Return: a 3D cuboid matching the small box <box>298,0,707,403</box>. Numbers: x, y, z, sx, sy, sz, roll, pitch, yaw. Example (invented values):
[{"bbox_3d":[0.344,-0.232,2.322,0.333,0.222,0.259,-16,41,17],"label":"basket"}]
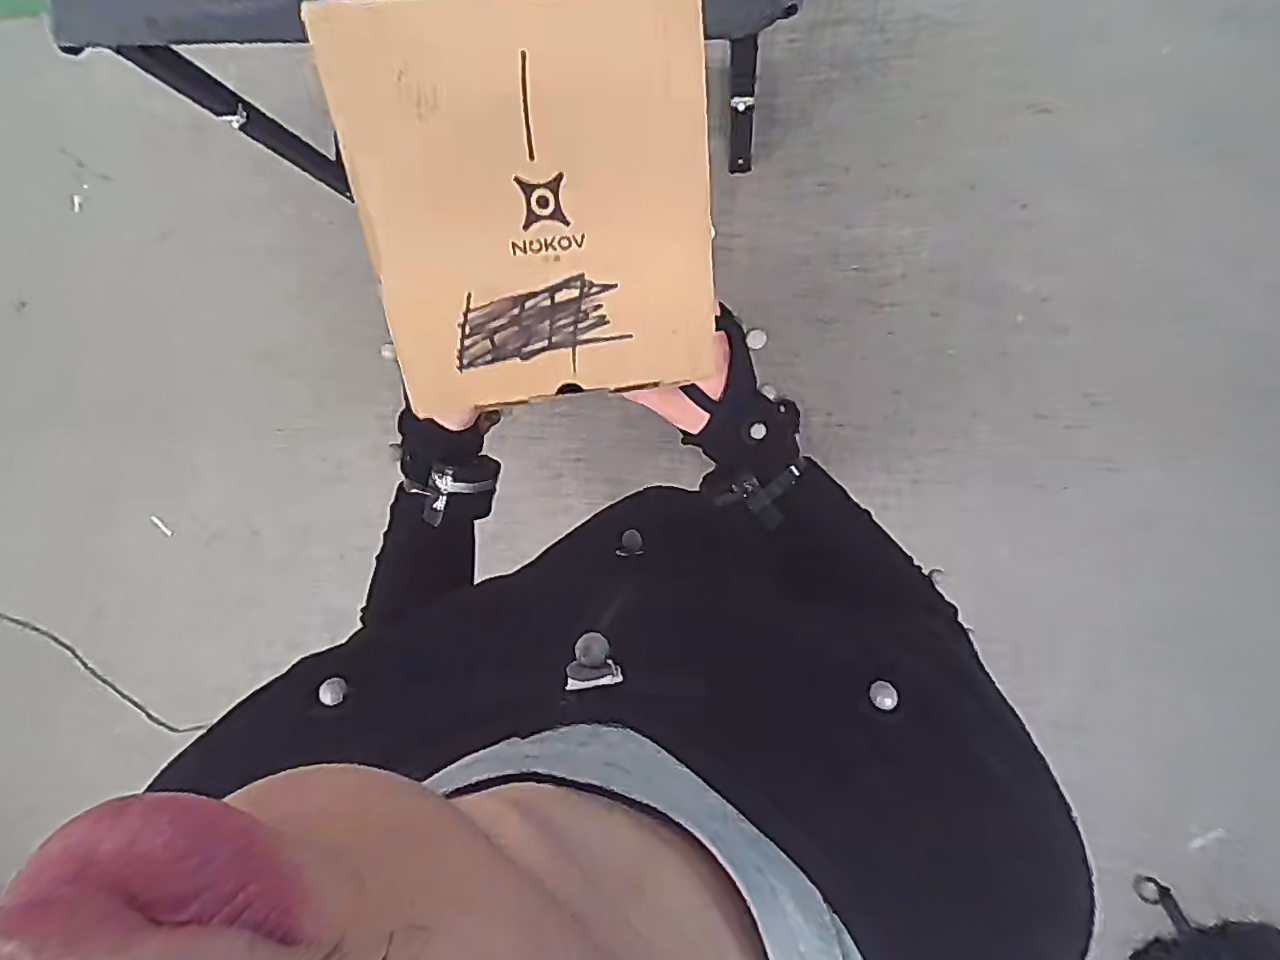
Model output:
[{"bbox_3d":[-0.060,-0.163,0.331,0.168,0.176,0.179,-9,115,-5],"label":"small box"}]
